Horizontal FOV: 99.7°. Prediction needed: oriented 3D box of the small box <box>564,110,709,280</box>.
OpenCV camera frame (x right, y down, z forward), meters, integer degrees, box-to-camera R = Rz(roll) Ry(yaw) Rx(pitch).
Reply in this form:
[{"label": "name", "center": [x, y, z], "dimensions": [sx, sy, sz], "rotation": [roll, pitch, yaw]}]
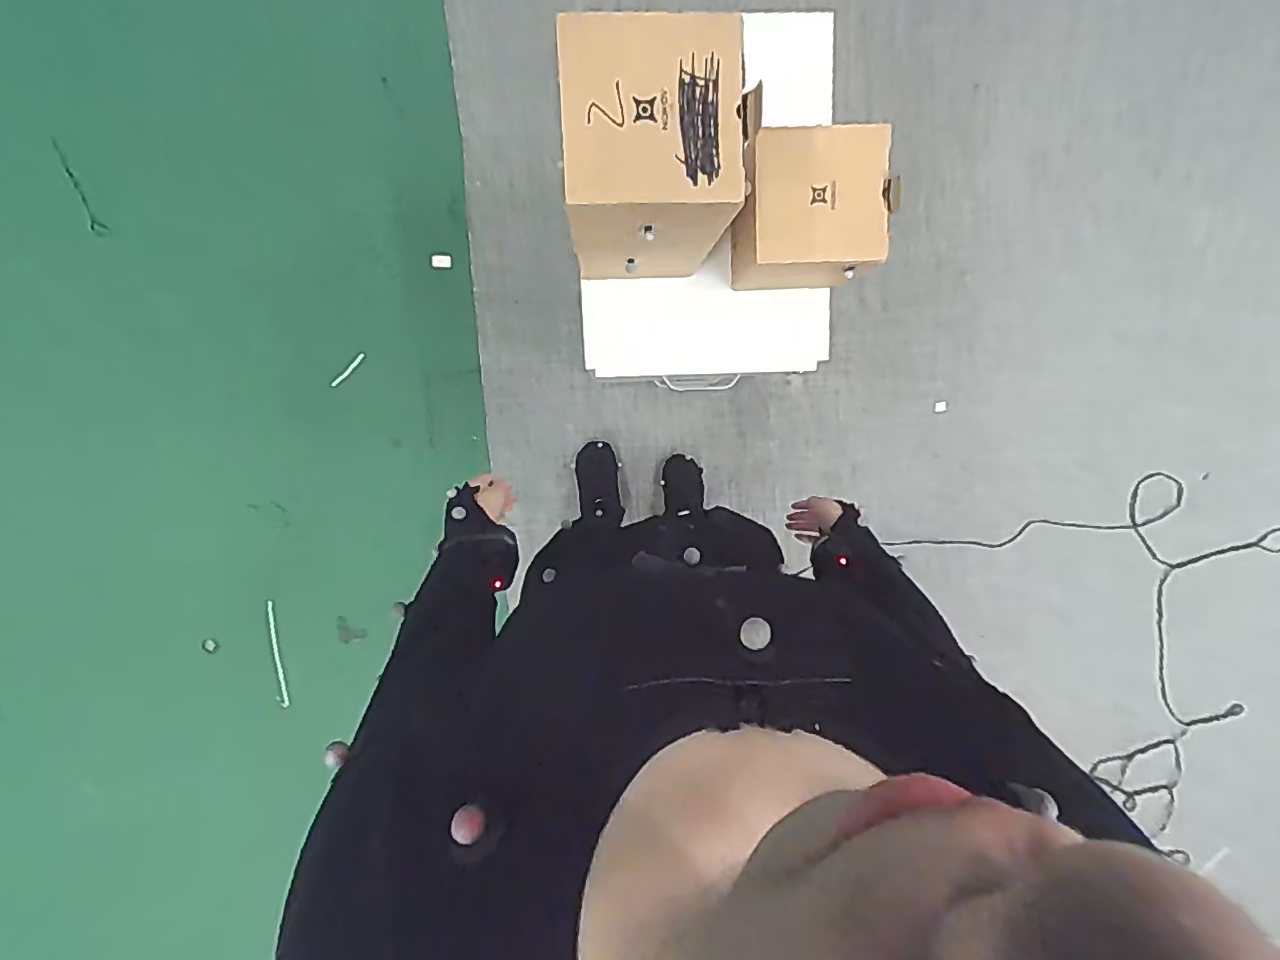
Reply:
[{"label": "small box", "center": [-0.006, -0.379, 0.748], "dimensions": [0.179, 0.176, 0.168], "rotation": [-3, 99, -3]}]
